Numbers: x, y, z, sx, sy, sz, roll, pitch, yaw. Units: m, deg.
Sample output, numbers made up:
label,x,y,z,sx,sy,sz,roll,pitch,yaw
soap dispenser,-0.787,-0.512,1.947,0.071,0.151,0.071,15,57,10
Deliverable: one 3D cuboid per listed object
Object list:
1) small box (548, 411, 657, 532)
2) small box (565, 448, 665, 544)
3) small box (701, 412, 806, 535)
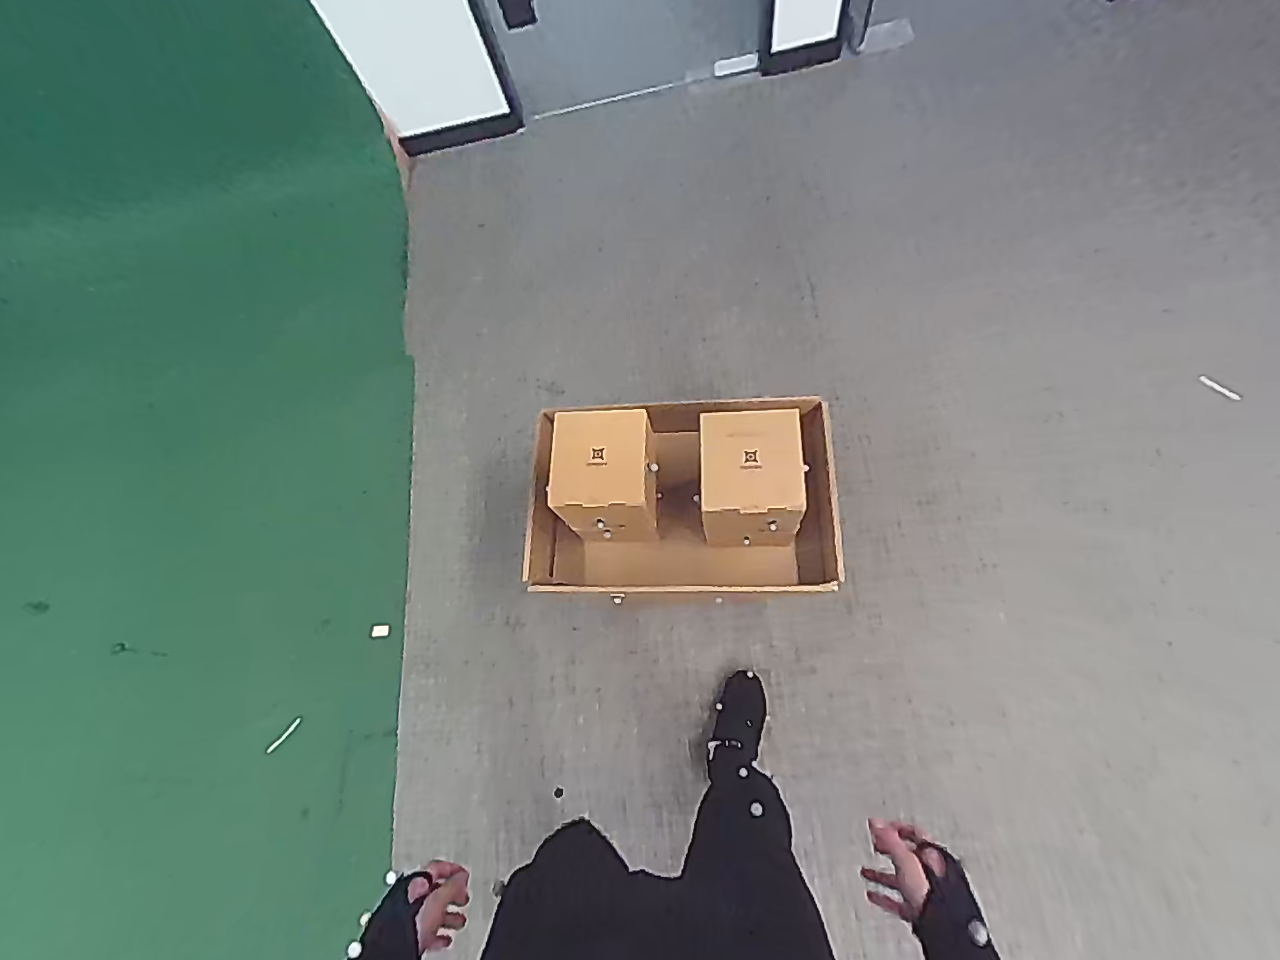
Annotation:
label,x,y,z,sx,sy,sz,roll,pitch,yaw
small box,-0.060,-0.012,0.988,0.168,0.176,0.179,0,71,7
small box,-0.046,0.038,1.144,0.179,0.176,0.168,0,71,8
small box,0.192,-0.005,0.943,0.168,0.176,0.179,1,71,7
